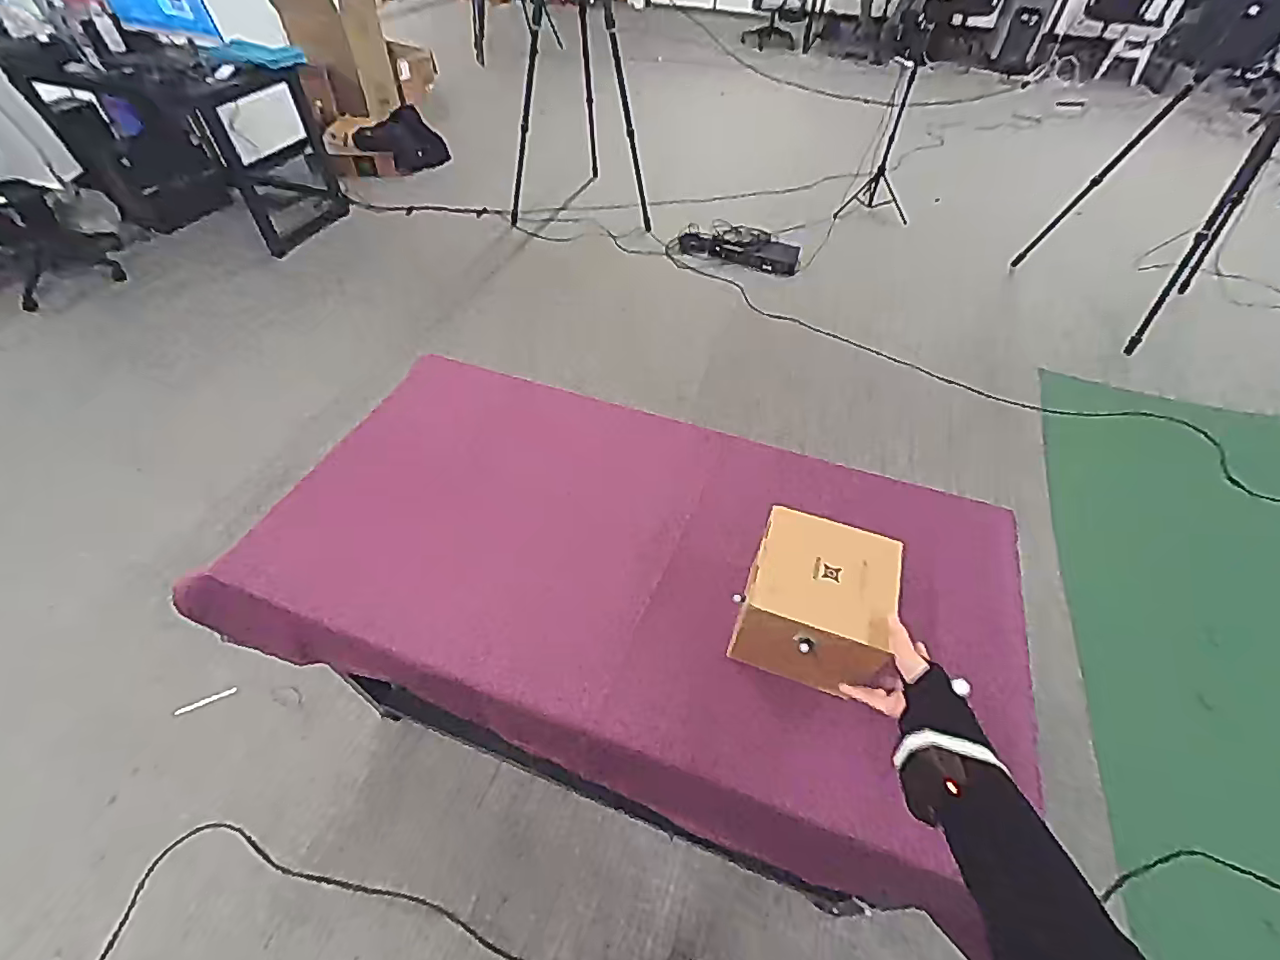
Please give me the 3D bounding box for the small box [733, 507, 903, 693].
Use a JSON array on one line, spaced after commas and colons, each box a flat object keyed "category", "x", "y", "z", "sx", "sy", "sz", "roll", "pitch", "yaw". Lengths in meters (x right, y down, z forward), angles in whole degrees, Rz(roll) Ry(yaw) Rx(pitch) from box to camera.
[{"category": "small box", "x": 0.238, "y": 0.169, "z": 0.748, "sx": 0.179, "sy": 0.176, "sz": 0.168, "roll": 17, "pitch": 52, "yaw": 12}]
